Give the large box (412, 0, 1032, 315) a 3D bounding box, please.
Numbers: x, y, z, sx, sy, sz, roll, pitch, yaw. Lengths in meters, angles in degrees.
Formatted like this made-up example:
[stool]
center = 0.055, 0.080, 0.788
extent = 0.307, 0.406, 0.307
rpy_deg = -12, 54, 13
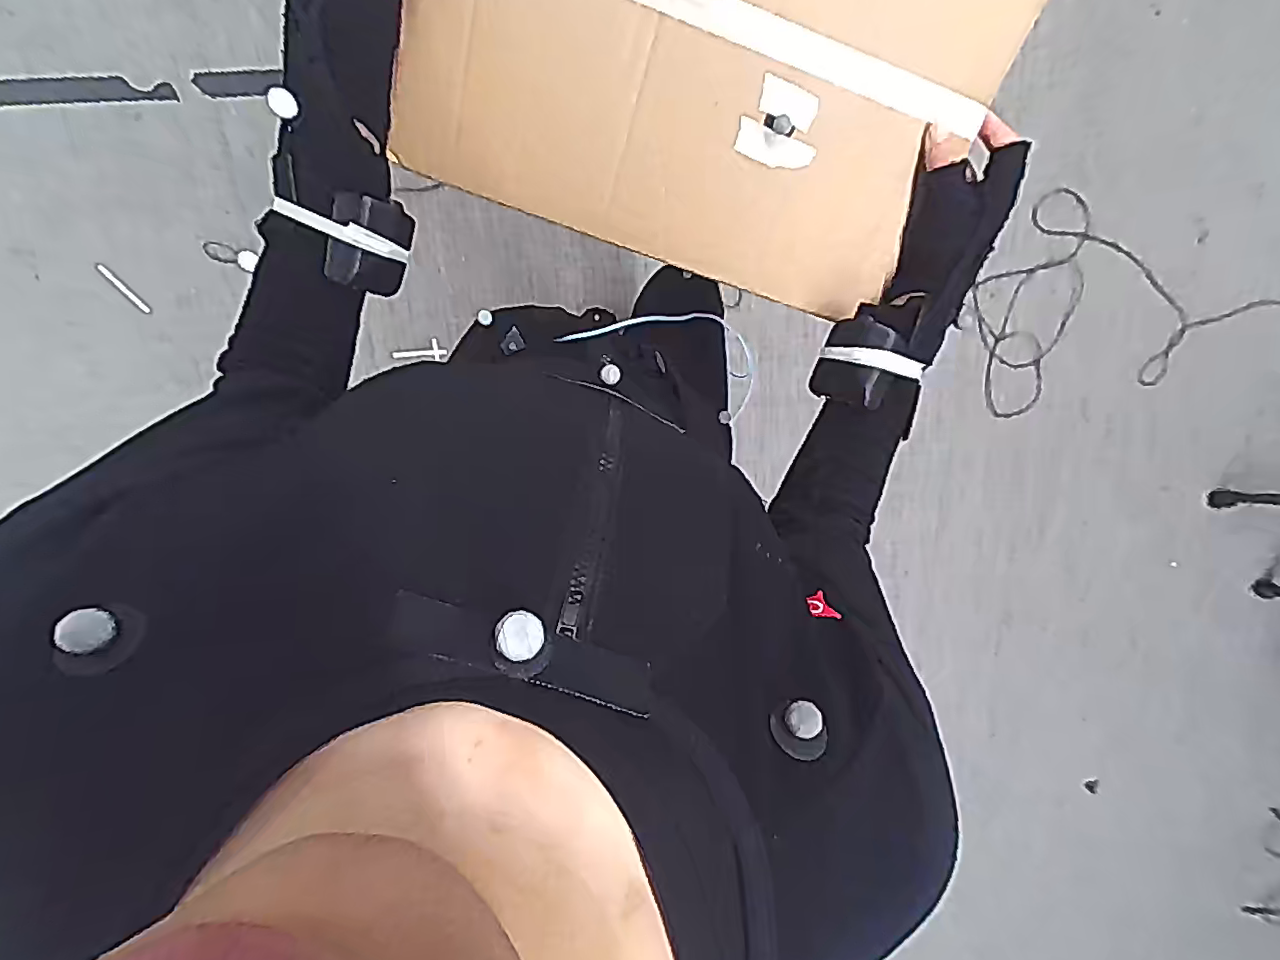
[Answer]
[large box]
center = 0.054, -0.394, 0.503
extent = 0.408, 0.320, 0.320
rpy_deg = 16, 120, -10
